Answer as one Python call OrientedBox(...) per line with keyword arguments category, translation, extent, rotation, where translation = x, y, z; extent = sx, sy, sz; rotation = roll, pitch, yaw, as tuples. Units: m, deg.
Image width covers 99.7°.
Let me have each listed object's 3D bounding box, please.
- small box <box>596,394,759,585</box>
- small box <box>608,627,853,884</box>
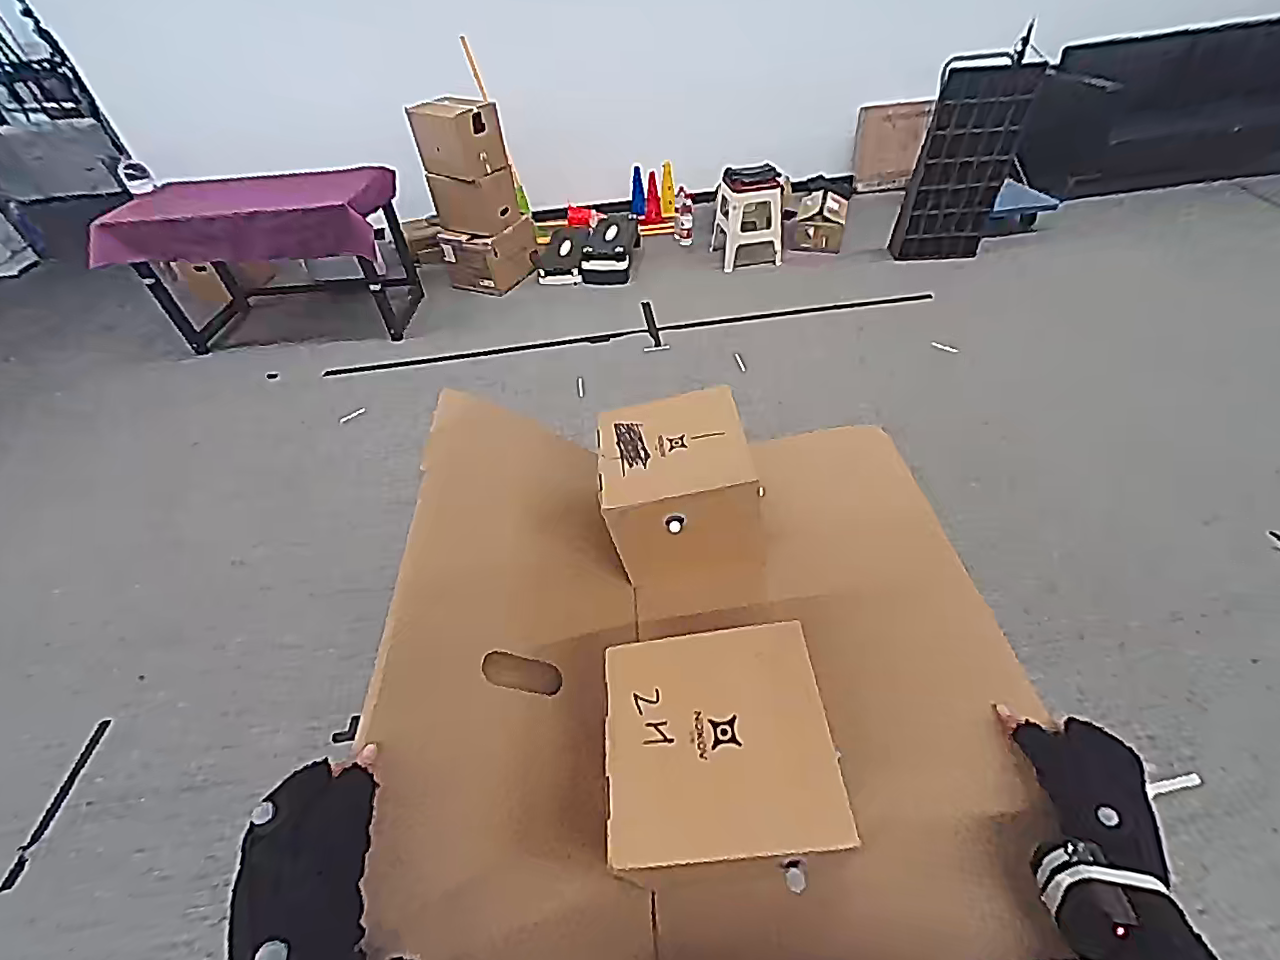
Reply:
OrientedBox(category="small box", translation=(0.049, 0.019, 0.705), extent=(0.179, 0.176, 0.168), rotation=(-12, 48, 5))
OrientedBox(category="small box", translation=(0.075, 0.254, 0.491), extent=(0.179, 0.176, 0.168), rotation=(-10, 48, 8))
